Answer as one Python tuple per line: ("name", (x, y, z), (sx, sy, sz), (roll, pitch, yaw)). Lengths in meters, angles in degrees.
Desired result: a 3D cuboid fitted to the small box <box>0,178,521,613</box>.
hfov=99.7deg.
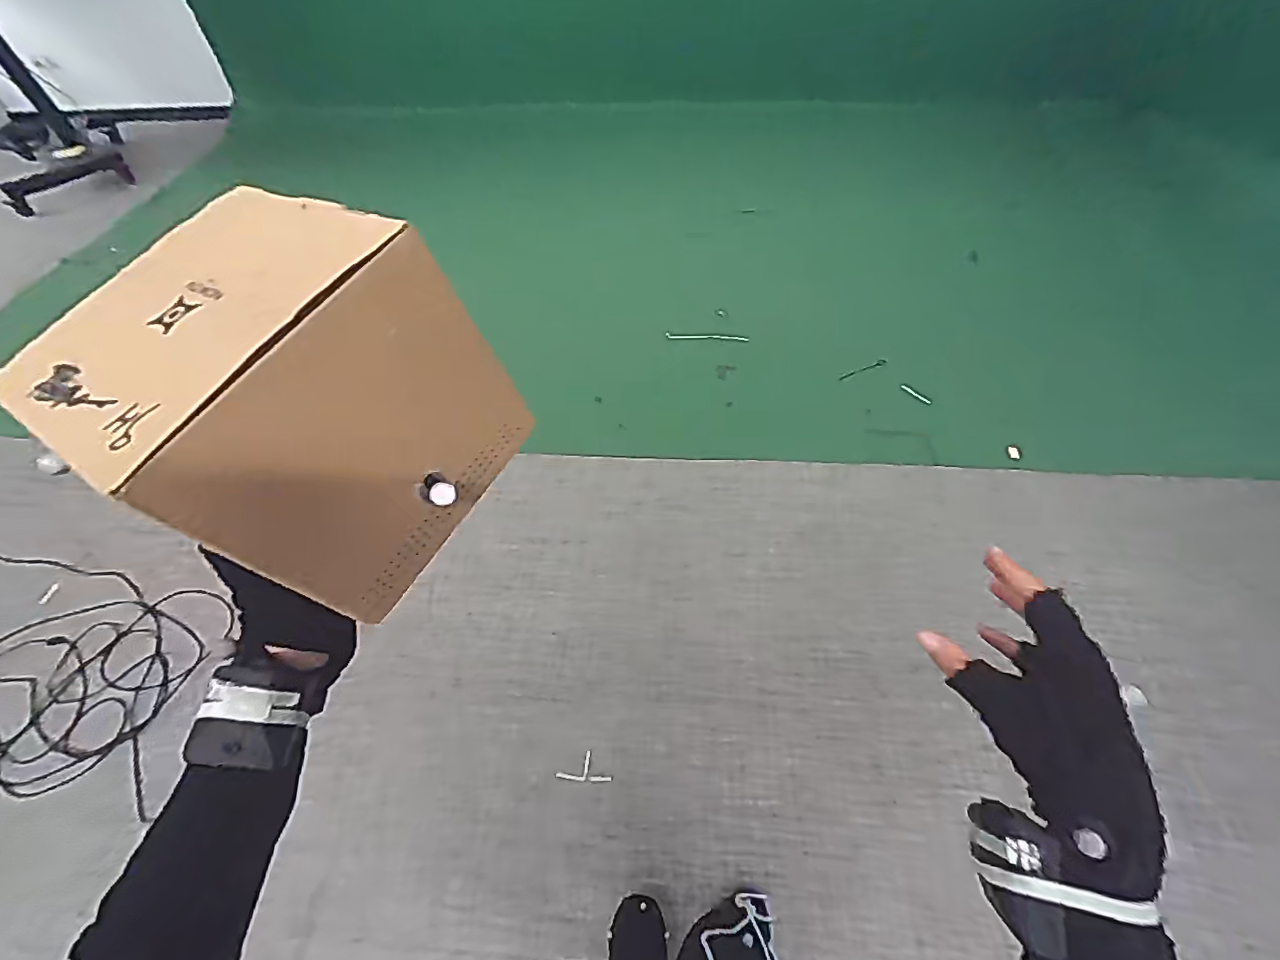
("small box", (-0.198, -0.050, 0.335), (0.168, 0.176, 0.179), (23, 66, 27))
